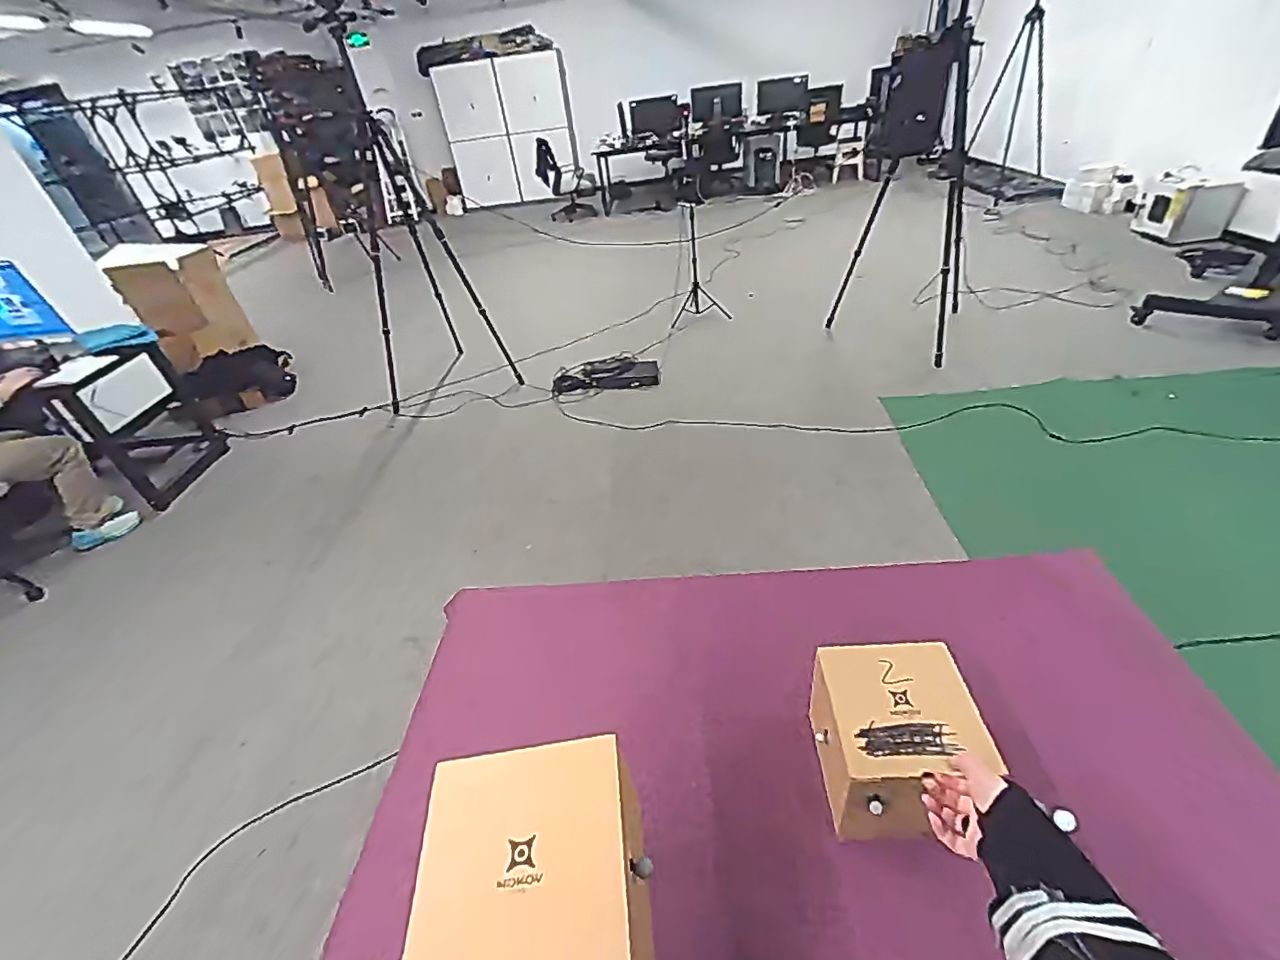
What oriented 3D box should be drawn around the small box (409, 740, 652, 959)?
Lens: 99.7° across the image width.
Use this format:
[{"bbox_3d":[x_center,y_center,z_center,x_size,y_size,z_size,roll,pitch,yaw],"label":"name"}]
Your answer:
[{"bbox_3d":[-0.084,0.368,0.486,0.168,0.176,0.179,-10,40,0],"label":"small box"}]
